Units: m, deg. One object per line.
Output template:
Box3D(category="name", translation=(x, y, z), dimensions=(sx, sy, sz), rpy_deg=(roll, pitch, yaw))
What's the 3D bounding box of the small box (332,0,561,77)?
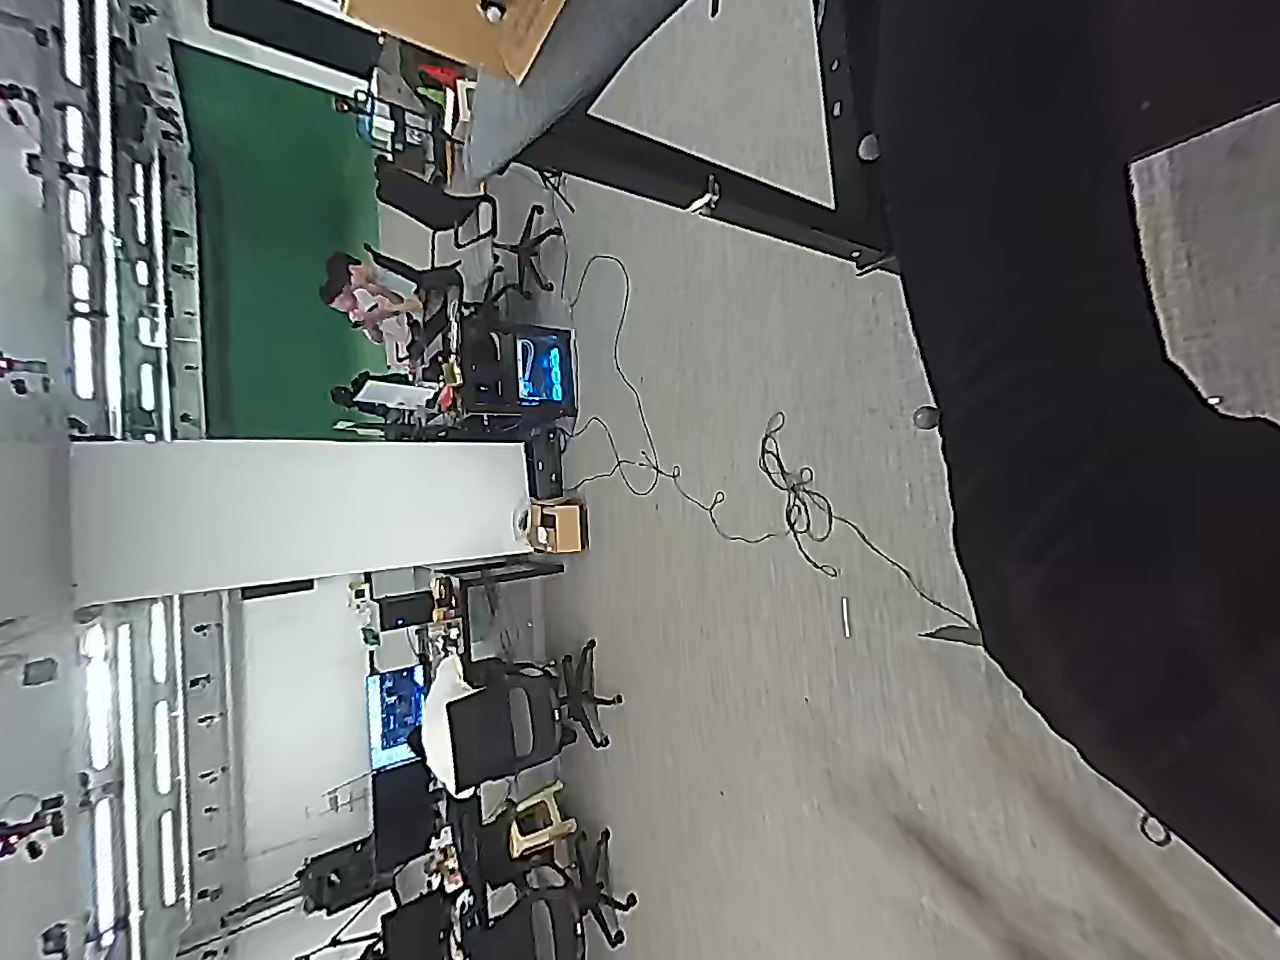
Box3D(category="small box", translation=(-0.158, -0.497, 0.452), dimensions=(0.168, 0.176, 0.179), rpy_deg=(-14, 82, 54))
